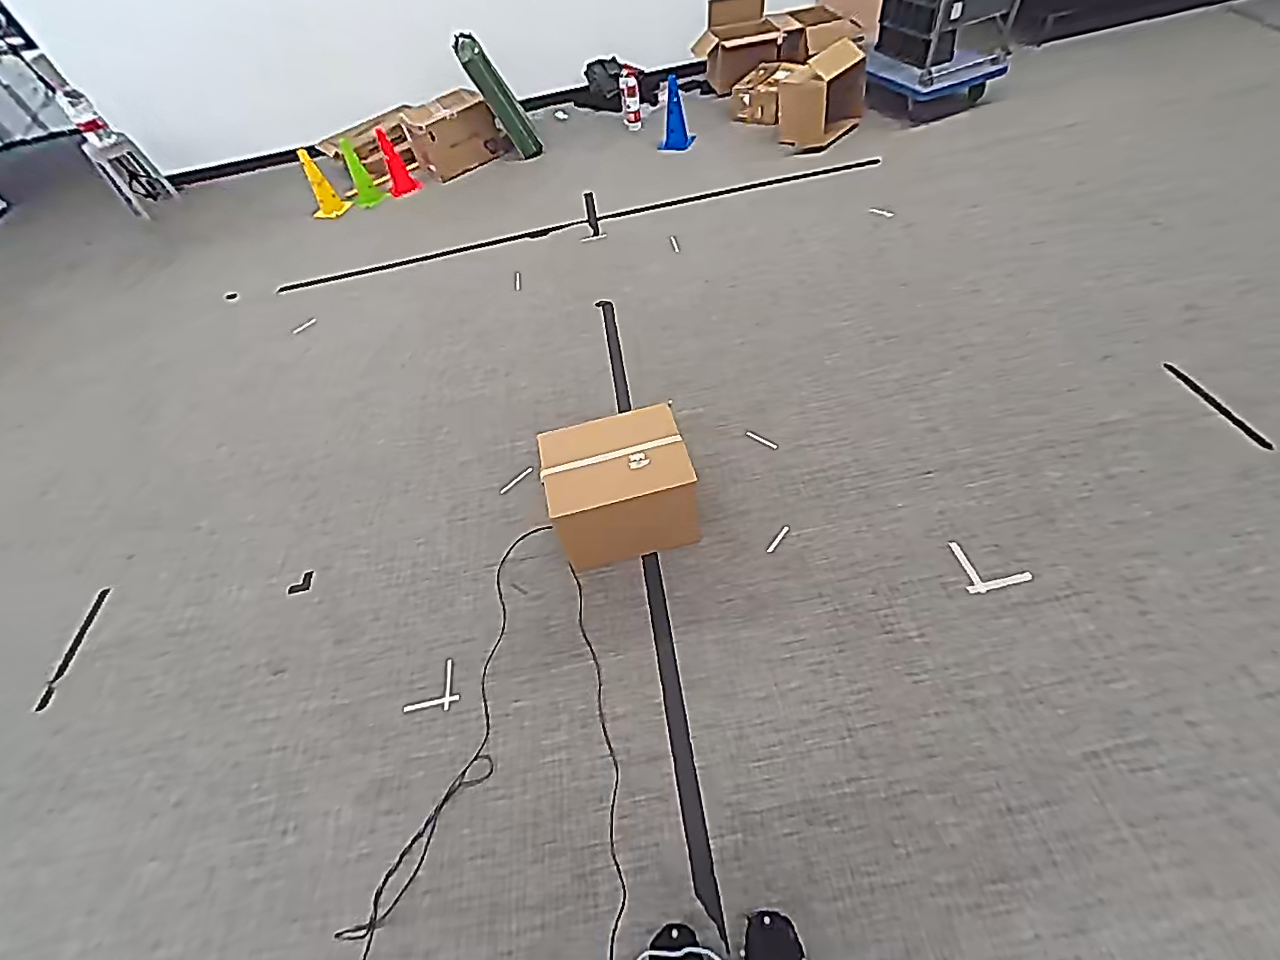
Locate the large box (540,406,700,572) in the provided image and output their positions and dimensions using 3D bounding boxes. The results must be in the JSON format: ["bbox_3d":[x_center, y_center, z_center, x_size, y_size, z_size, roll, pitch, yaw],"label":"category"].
[{"bbox_3d":[-0.056,0.033,1.627,0.408,0.320,0.320,-14,53,-3],"label":"large box"}]
